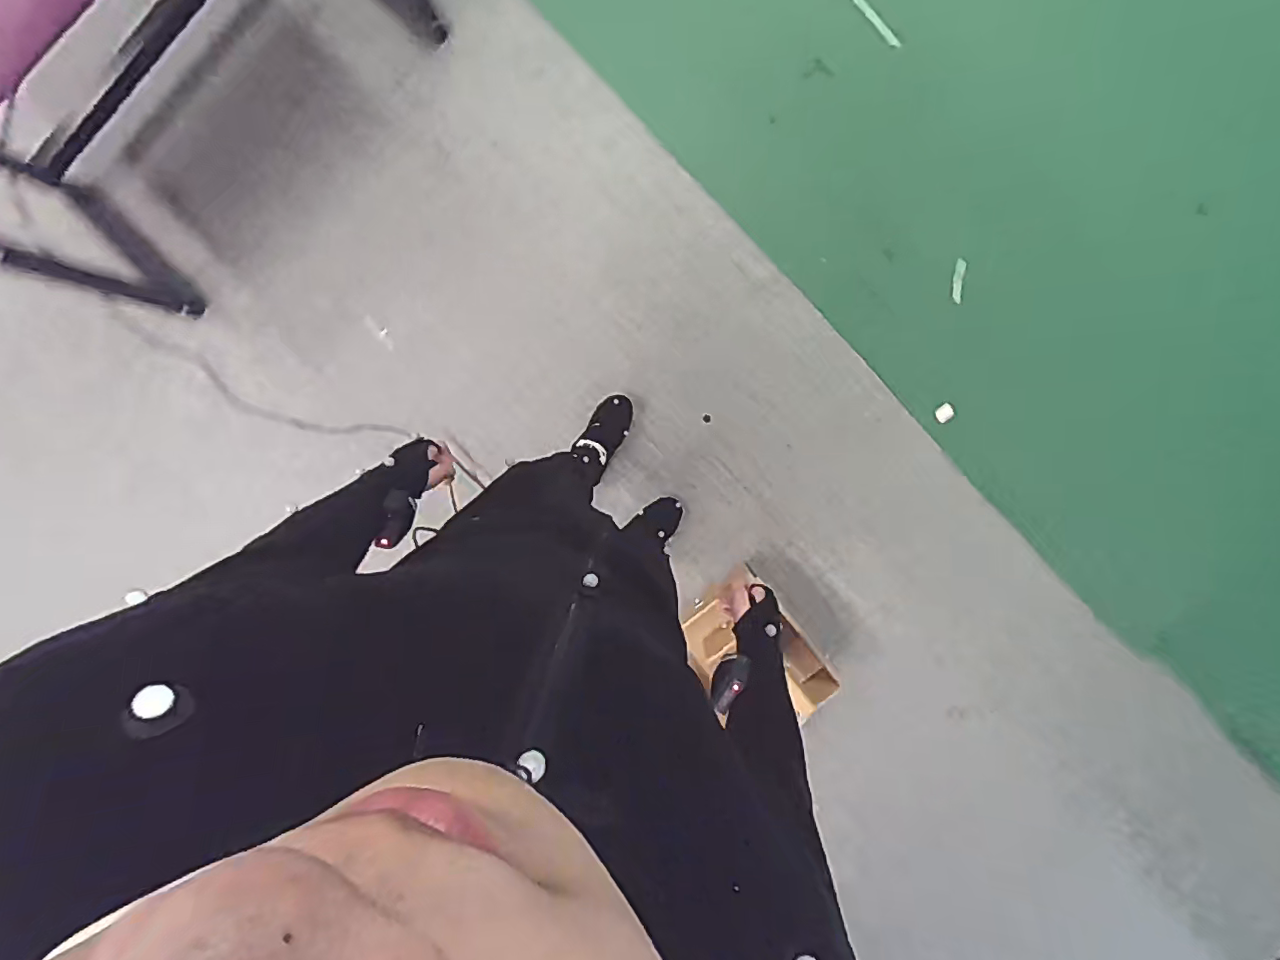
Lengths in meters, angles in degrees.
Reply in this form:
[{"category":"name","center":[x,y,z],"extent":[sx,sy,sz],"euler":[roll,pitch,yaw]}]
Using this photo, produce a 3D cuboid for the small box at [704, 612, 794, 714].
[{"category":"small box","center":[0.295,0.498,1.495],"extent":[0.168,0.176,0.179],"euler":[-38,91,5]}]
